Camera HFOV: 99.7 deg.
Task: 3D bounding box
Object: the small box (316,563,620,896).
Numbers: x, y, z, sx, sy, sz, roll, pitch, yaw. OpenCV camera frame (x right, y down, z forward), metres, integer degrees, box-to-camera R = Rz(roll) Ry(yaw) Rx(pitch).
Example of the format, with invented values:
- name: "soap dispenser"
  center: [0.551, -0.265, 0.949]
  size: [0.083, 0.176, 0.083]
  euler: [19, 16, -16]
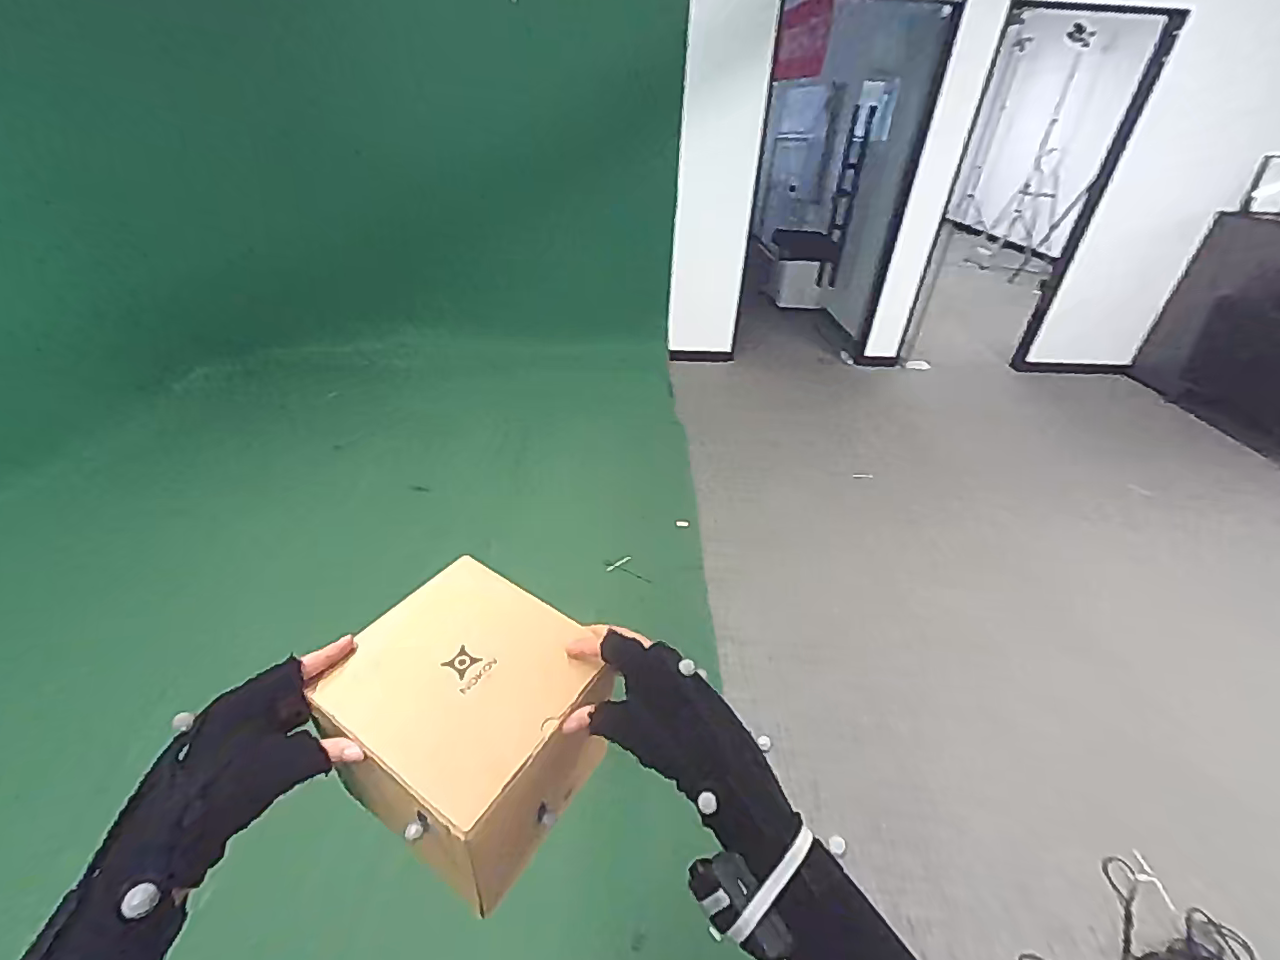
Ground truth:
- name: "small box"
  center: [-0.140, 0.212, 0.475]
  size: [0.179, 0.176, 0.168]
  euler: [26, 40, 22]
